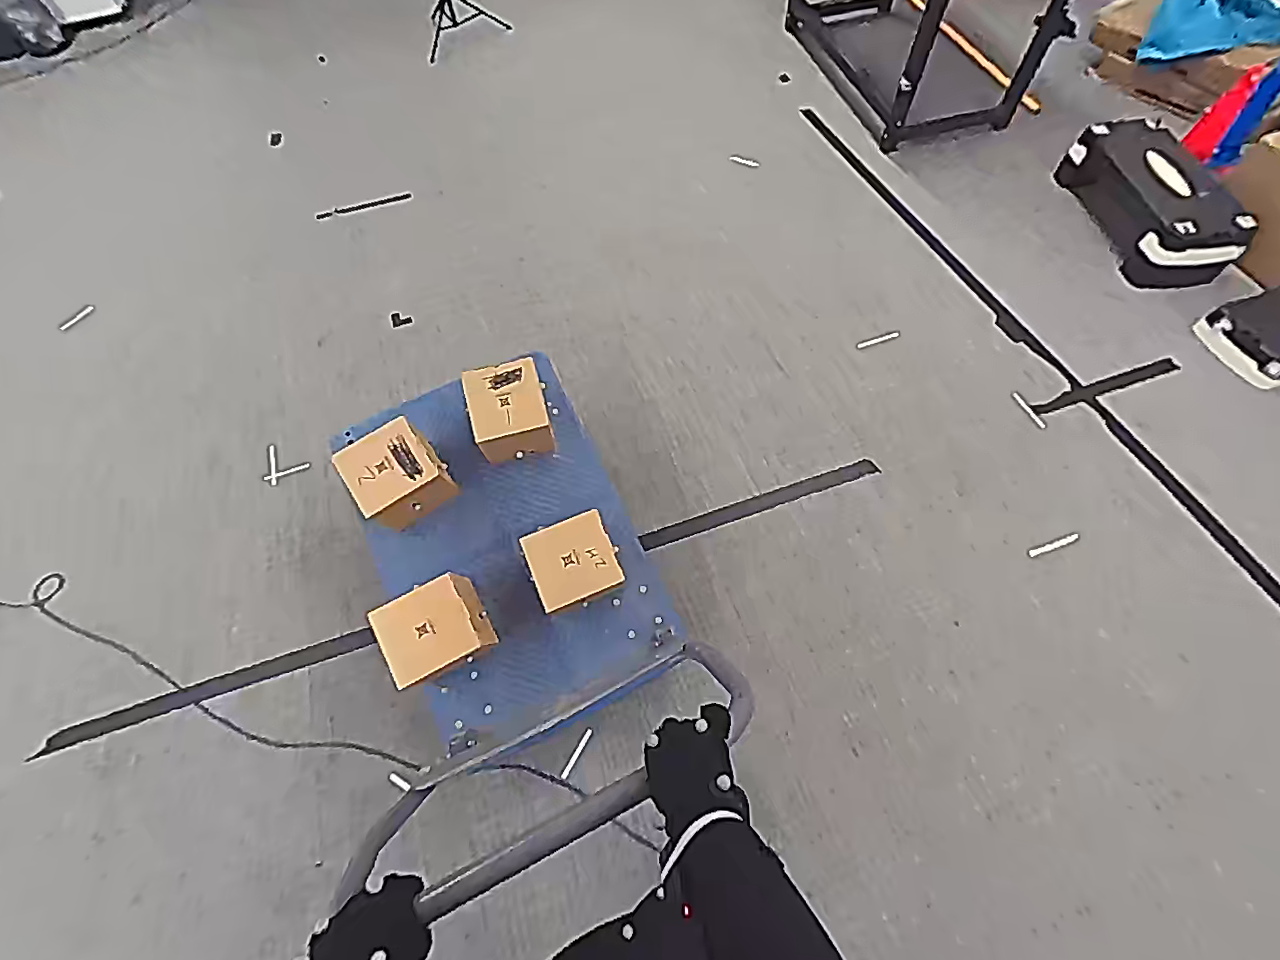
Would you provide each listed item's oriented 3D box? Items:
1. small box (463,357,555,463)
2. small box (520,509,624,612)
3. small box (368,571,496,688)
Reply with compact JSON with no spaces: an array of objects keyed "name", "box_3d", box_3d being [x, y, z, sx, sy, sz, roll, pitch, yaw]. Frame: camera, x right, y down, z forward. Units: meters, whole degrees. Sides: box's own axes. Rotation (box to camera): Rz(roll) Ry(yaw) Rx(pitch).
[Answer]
[{"name":"small box","box_3d":[-0.304,-0.160,1.277,0.168,0.176,0.179,-15,77,-7]},{"name":"small box","box_3d":[-0.143,0.184,1.188,0.179,0.176,0.168,-21,77,-8]},{"name":"small box","box_3d":[-0.427,0.314,1.137,0.179,0.176,0.168,-28,78,-11]}]
